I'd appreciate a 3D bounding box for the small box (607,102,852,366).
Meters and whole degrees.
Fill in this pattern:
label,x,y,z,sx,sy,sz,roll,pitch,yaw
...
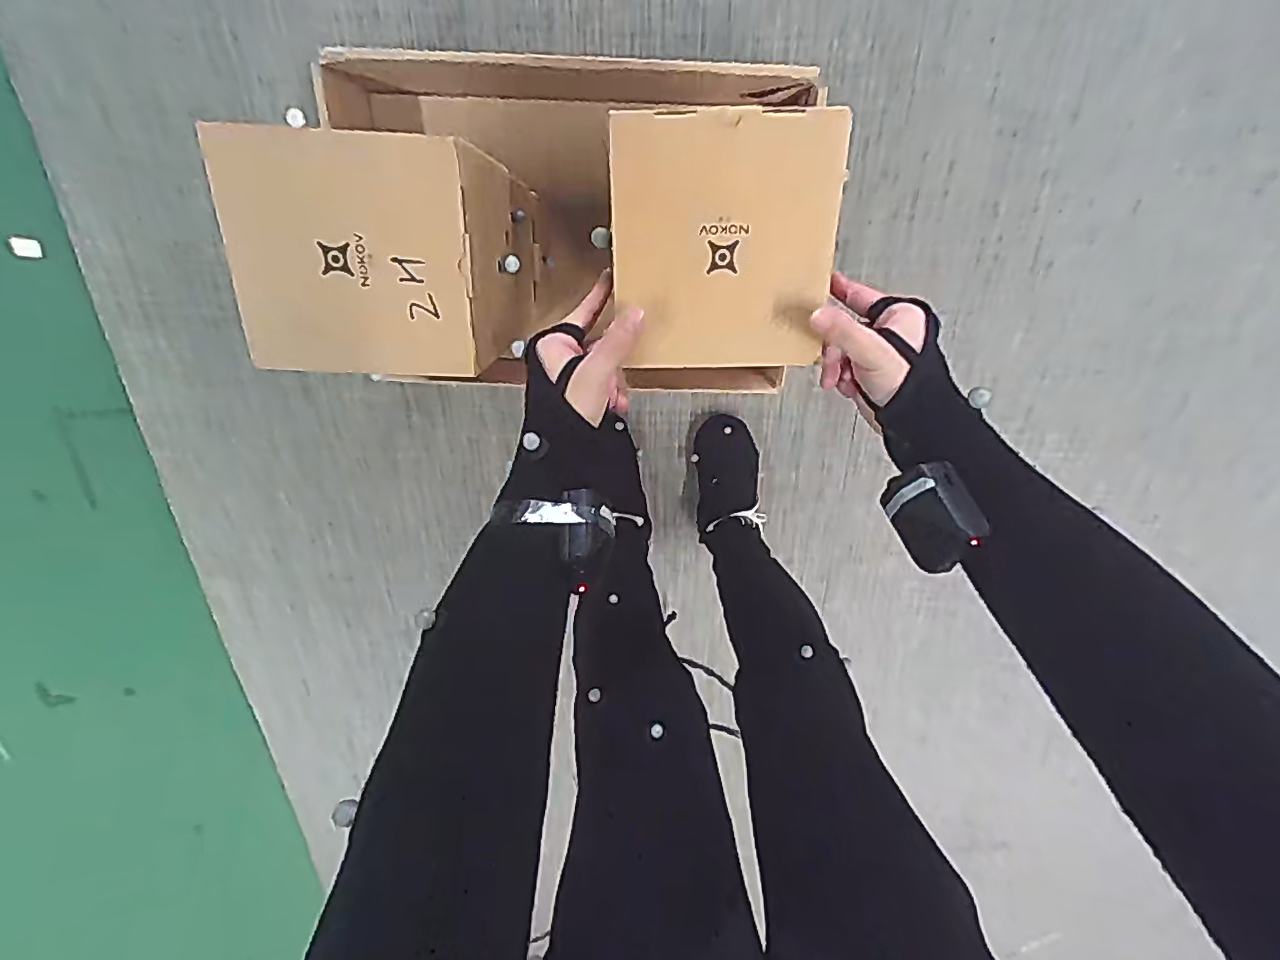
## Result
label,x,y,z,sx,sy,sz,roll,pitch,yaw
small box,0.062,-0.204,0.465,0.168,0.176,0.179,-1,114,1

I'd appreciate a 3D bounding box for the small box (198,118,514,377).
label,x,y,z,sx,sy,sz,roll,pitch,yaw
small box,-0.214,-0.190,0.464,0.179,0.176,0.168,2,113,-3
